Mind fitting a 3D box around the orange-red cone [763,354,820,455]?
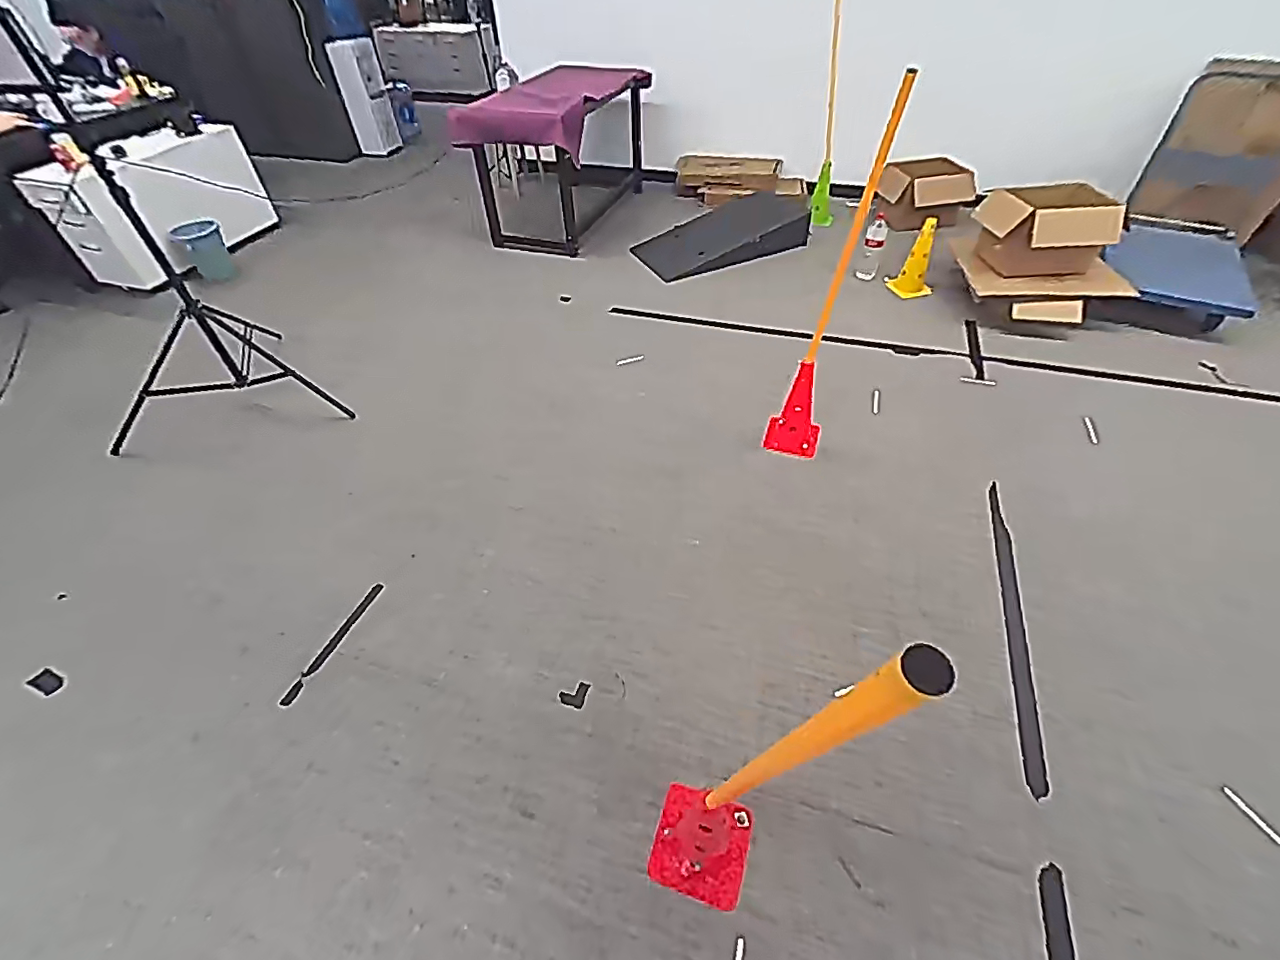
[{"bbox_3d":[0.587,-0.301,1.979,0.198,0.360,0.199,15,48,16],"label":"orange-red cone"}]
